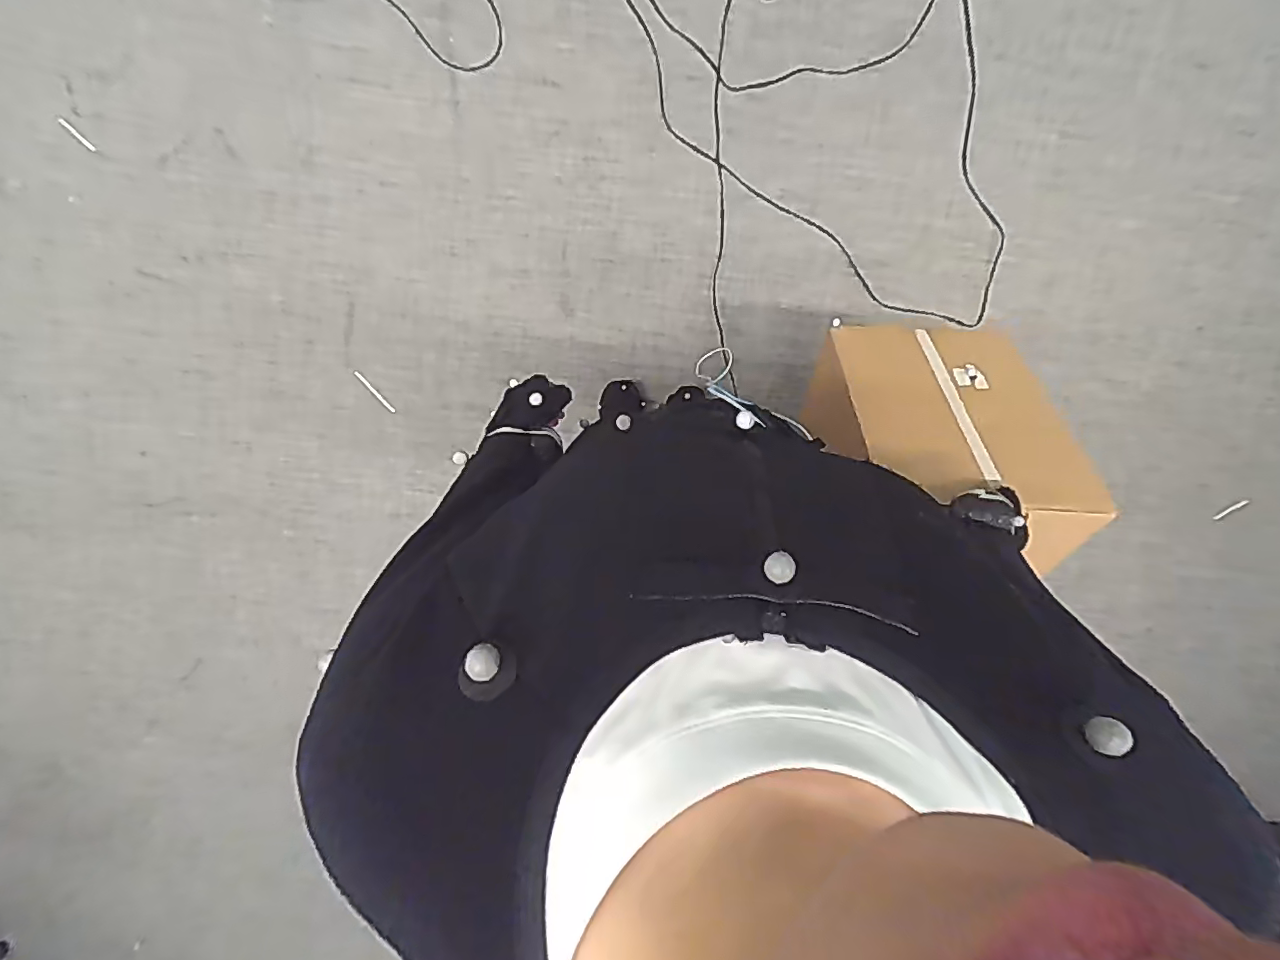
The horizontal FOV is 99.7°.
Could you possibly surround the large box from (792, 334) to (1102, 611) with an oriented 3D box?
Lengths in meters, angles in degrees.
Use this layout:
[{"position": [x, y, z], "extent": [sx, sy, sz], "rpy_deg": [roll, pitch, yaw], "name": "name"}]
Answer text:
[{"position": [0.483, -0.012, 0.975], "extent": [0.320, 0.408, 0.320], "rpy_deg": [3, 140, 0], "name": "large box"}]
